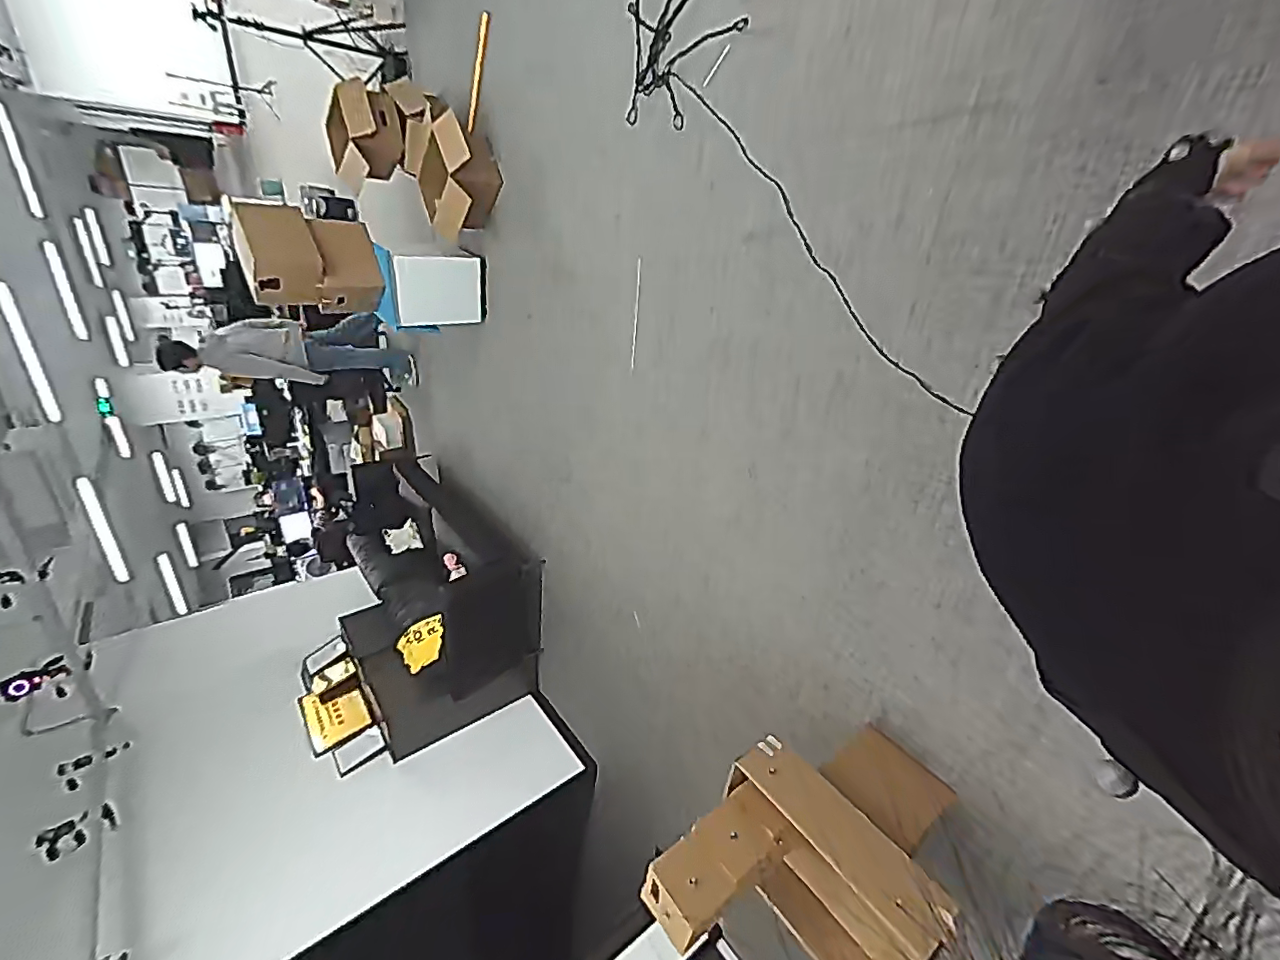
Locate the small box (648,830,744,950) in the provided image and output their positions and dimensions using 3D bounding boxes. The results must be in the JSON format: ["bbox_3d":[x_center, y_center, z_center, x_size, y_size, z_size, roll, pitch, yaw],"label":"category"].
[{"bbox_3d":[0.148,1.094,1.462,0.179,0.176,0.168,38,131,40],"label":"small box"}]
